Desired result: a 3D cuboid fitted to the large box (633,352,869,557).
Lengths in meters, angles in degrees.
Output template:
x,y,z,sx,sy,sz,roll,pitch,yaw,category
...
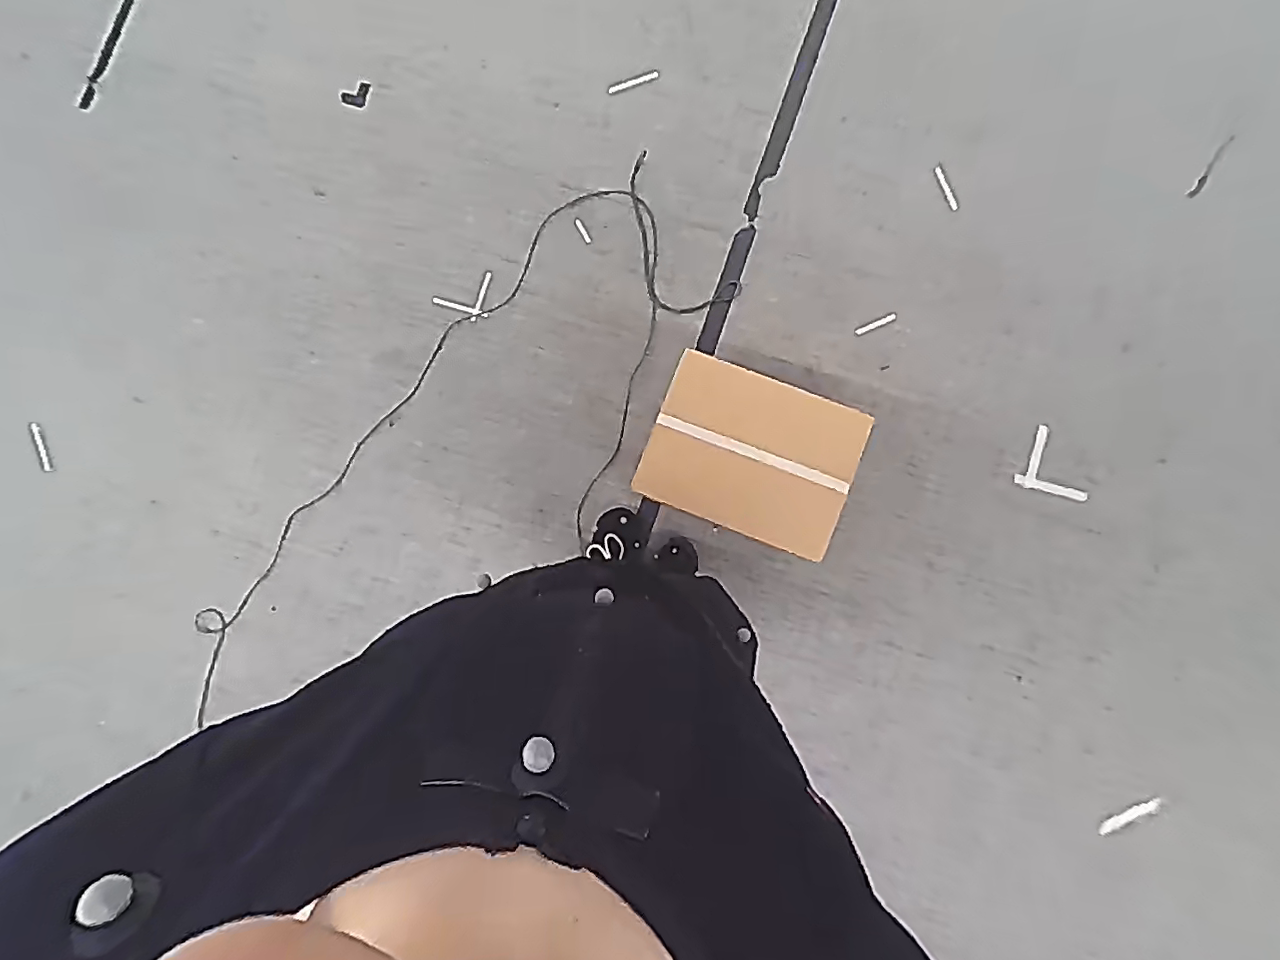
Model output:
x,y,z,sx,sy,sz,roll,pitch,yaw,category
0.225,-0.046,1.233,0.408,0.320,0.320,21,88,3,large box
